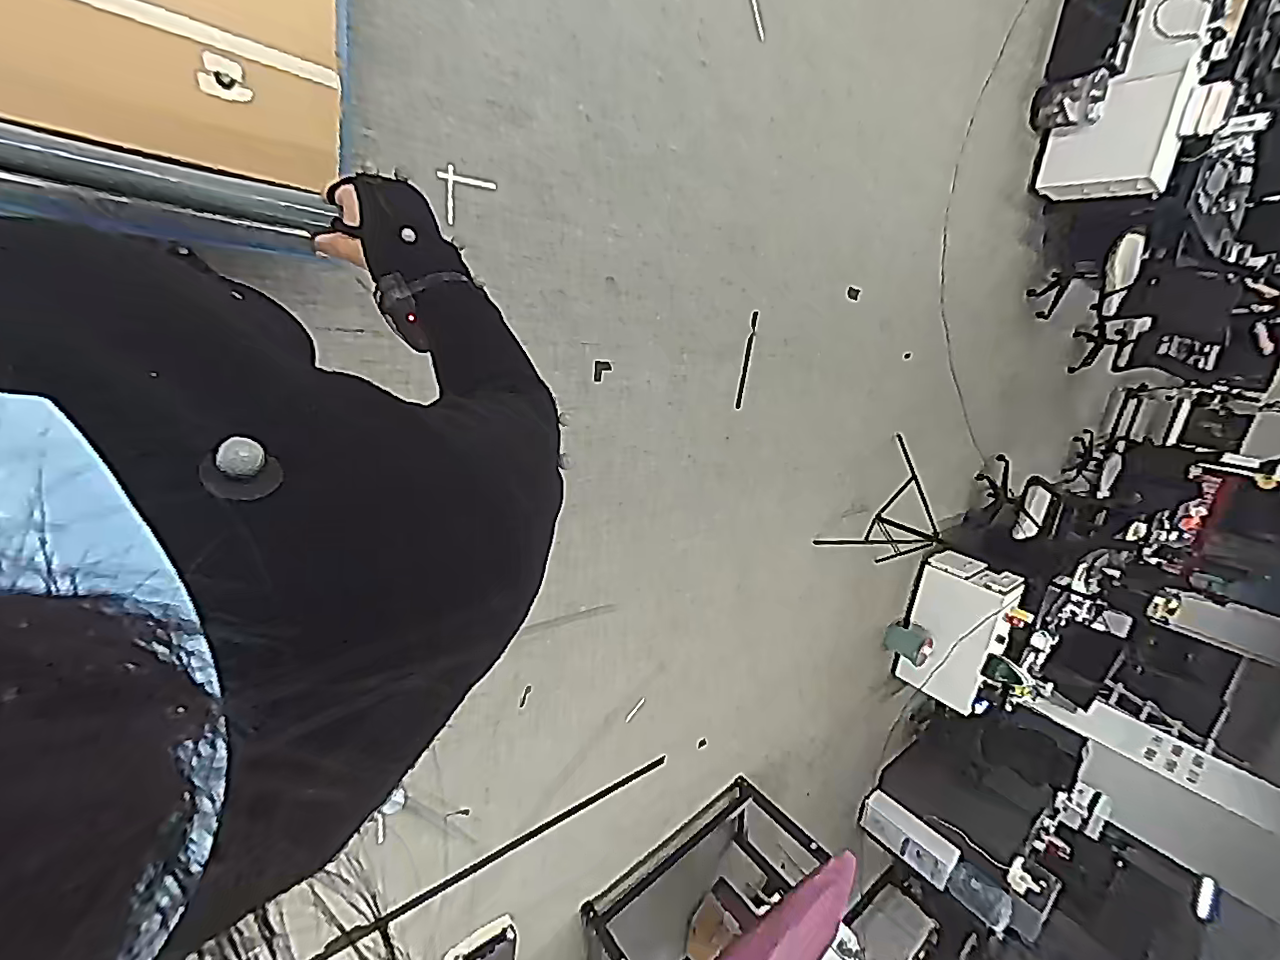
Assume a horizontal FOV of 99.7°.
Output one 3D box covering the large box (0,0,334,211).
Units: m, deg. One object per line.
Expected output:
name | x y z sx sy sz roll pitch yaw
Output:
large box | -0.697 -0.600 0.764 0.408 0.320 0.320 -6 112 -41
